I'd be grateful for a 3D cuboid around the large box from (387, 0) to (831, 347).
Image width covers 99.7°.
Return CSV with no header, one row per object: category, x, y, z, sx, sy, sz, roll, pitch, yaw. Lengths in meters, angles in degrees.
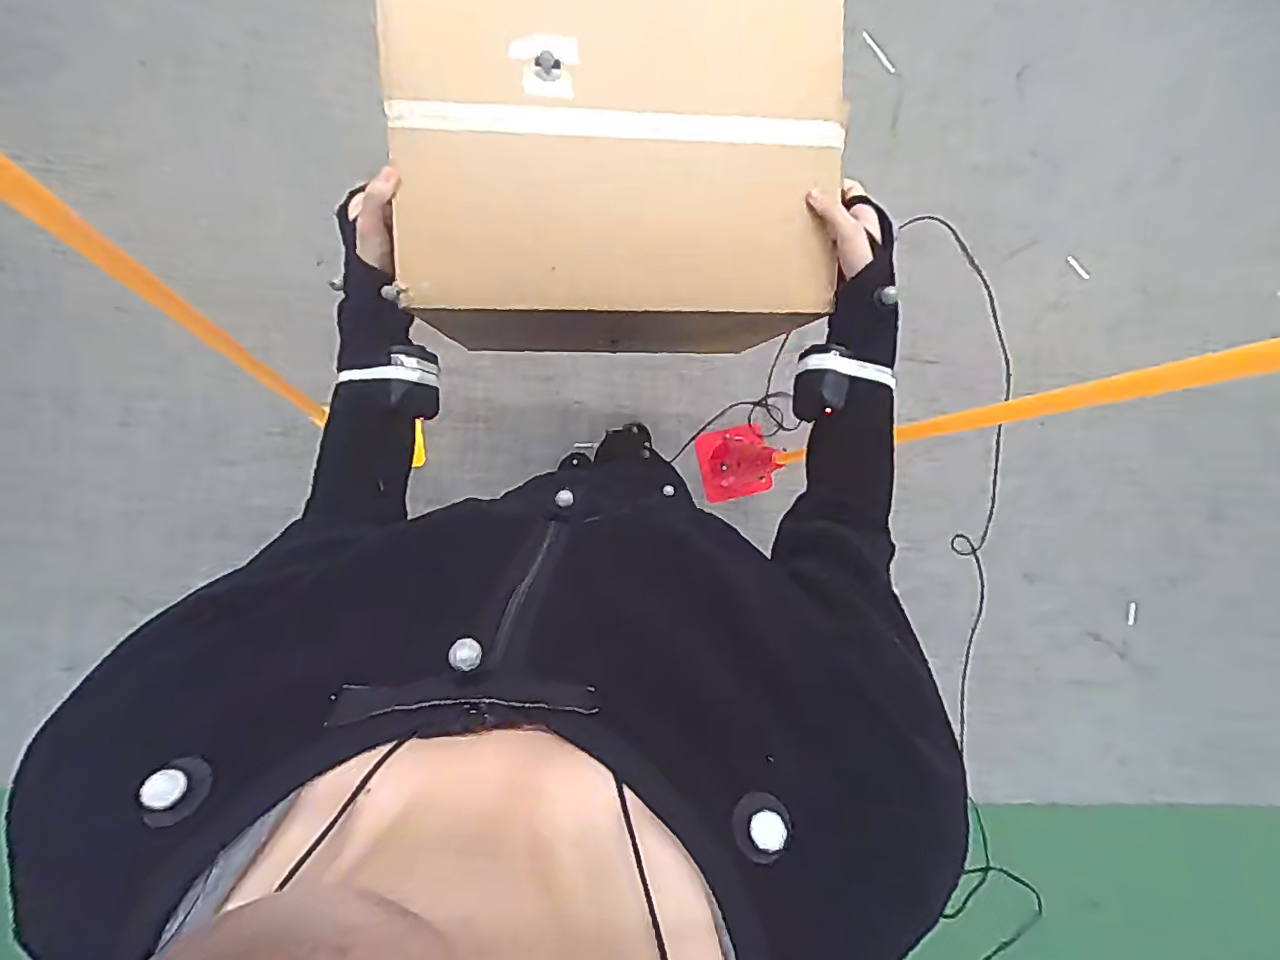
large box,-0.031,-0.332,0.641,0.408,0.320,0.320,-2,96,-6
